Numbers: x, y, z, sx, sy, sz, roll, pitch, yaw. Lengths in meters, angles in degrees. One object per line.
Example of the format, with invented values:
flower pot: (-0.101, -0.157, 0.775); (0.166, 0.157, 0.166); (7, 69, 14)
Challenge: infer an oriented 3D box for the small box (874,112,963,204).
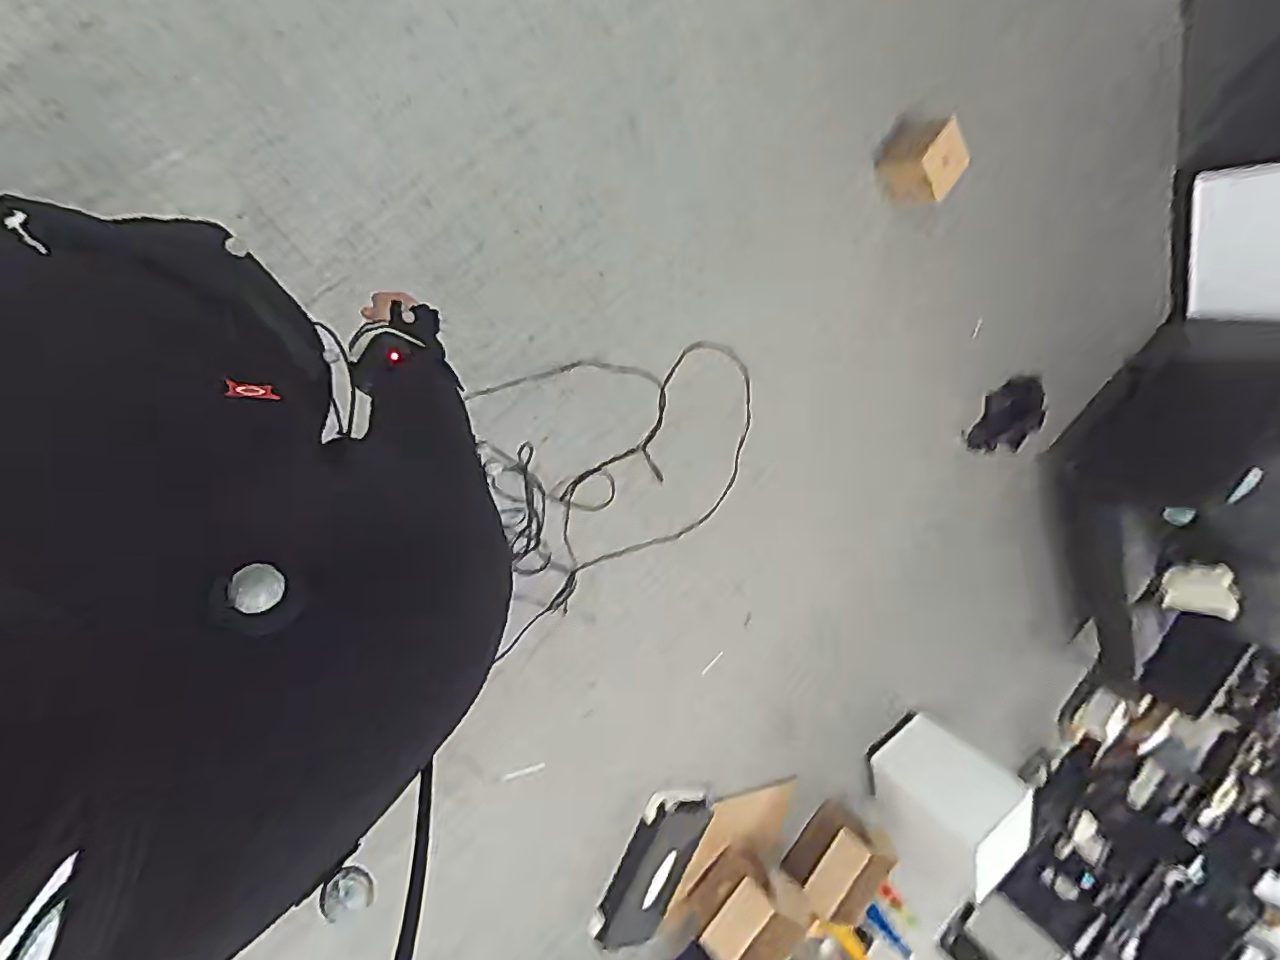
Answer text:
small box: (0.865, -0.999, 1.696); (0.168, 0.176, 0.179); (37, 86, -36)
